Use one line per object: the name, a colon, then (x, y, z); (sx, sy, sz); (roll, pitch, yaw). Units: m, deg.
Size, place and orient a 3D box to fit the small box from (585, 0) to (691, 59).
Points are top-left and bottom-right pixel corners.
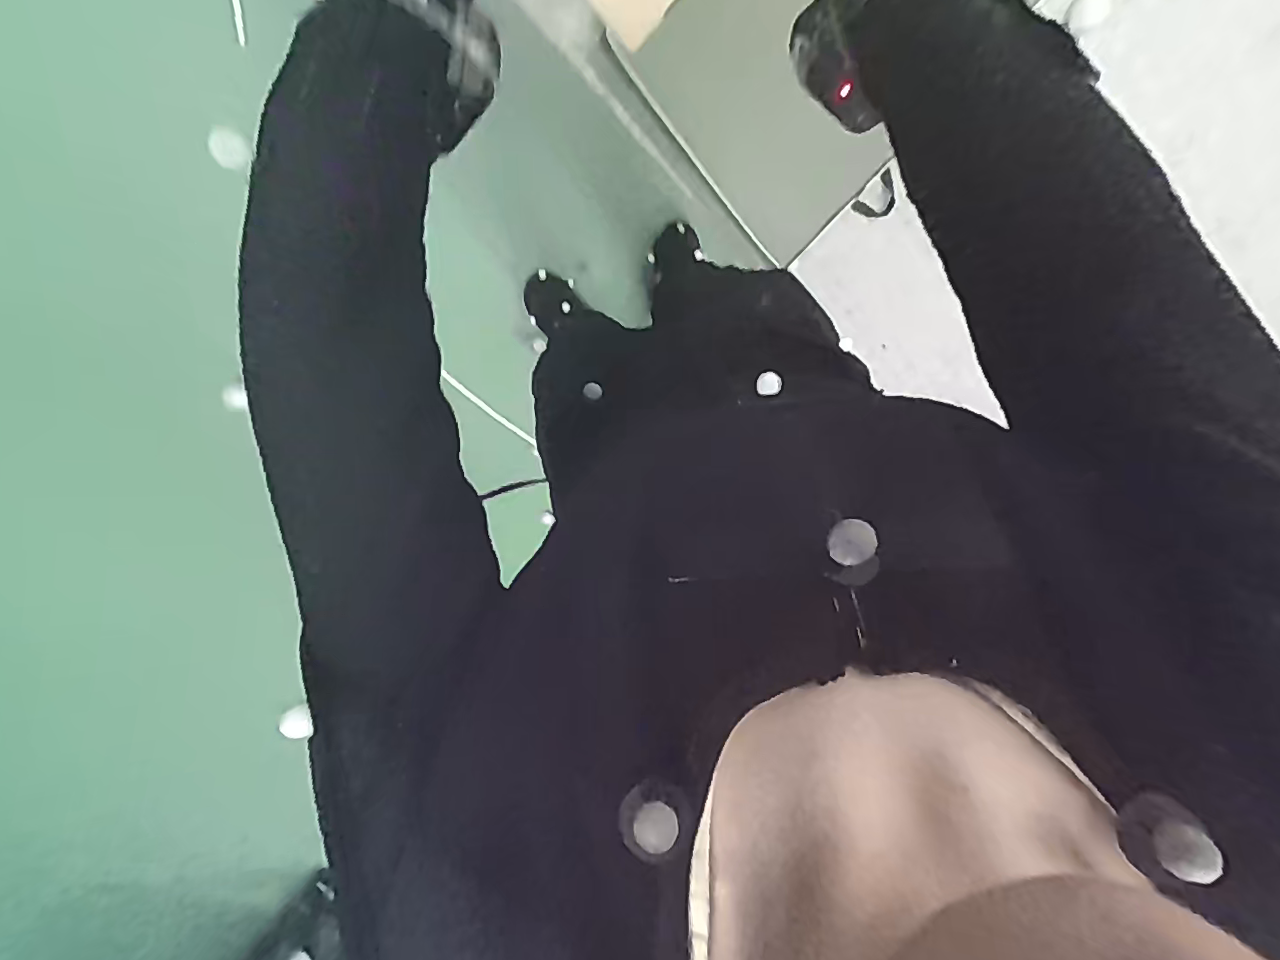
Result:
small box: (-0.007, -0.433, 0.358); (0.168, 0.176, 0.179); (-36, 124, 23)
